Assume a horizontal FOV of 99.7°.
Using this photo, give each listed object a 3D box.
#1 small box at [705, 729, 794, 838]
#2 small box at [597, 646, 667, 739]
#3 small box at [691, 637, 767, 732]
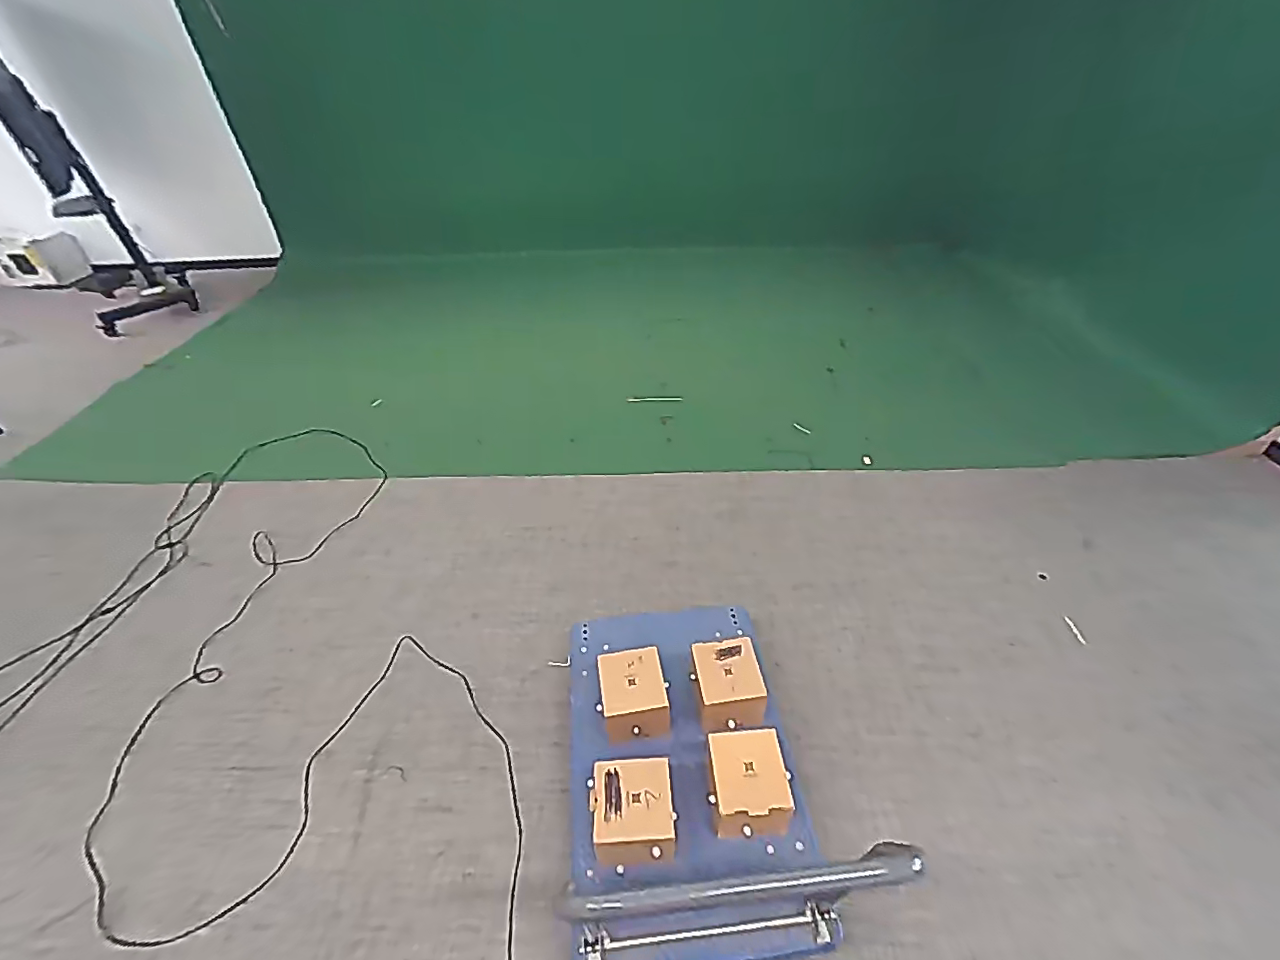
[{"bbox_3d":[0.251,0.722,1.288,0.168,0.176,0.179,-4,40,-2],"label":"small box"},{"bbox_3d":[-0.021,0.579,1.458,0.168,0.176,0.179,-7,41,-6],"label":"small box"},{"bbox_3d":[0.234,0.556,1.473,0.168,0.176,0.179,-7,42,-4],"label":"small box"}]
